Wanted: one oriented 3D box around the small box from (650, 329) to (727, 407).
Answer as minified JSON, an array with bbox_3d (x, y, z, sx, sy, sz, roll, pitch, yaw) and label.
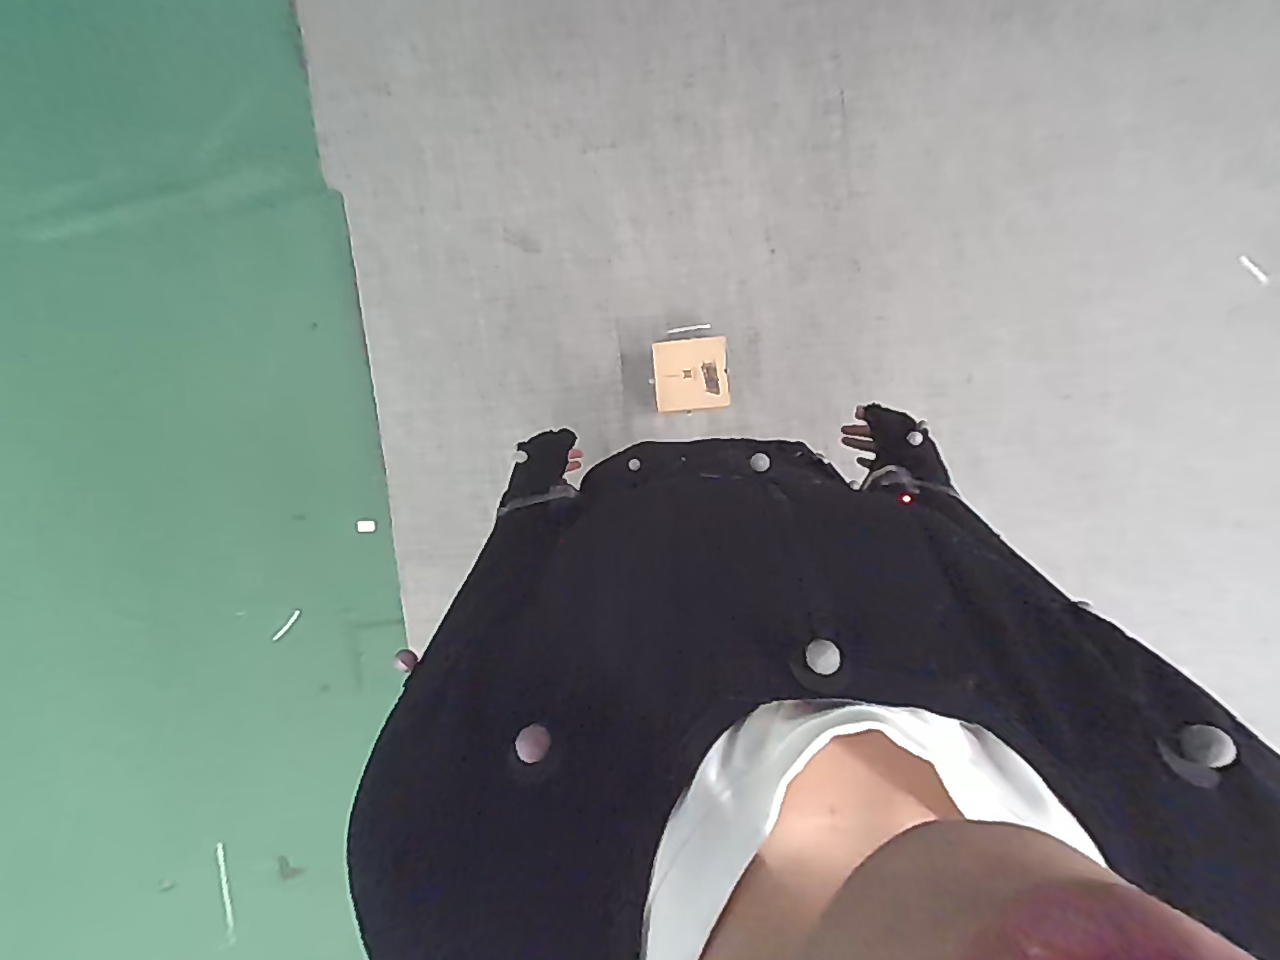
[{"bbox_3d":[0.119,-0.276,1.362,0.179,0.176,0.168,-5,94,4],"label":"small box"}]
